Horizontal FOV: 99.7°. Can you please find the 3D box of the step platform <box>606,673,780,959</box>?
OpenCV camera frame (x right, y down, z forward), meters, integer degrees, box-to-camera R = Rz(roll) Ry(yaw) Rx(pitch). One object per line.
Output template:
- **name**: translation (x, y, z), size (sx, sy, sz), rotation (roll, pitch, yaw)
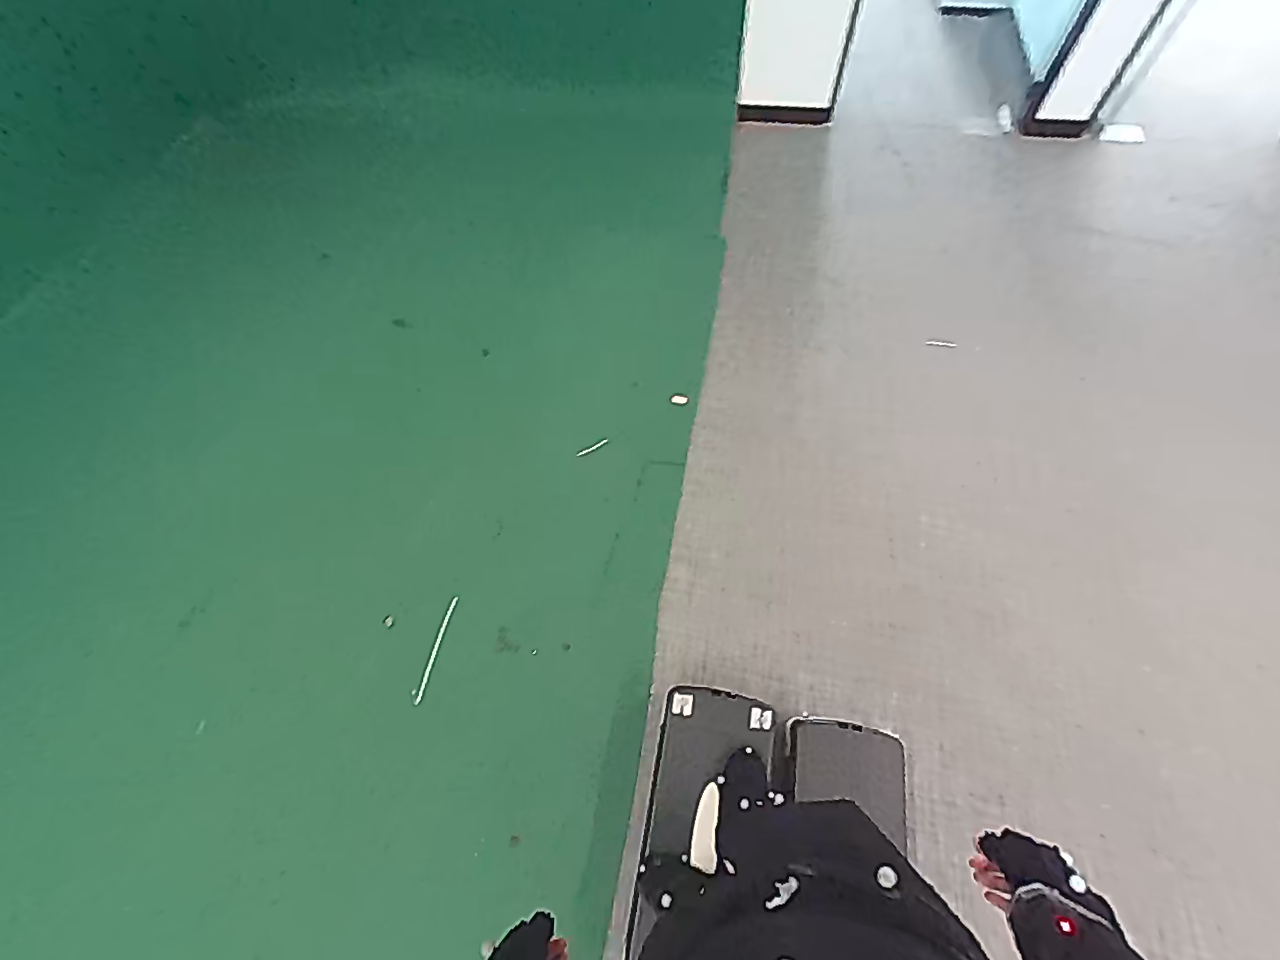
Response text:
- **step platform**: translation (0.108, 0.768, 1.101), size (0.286, 0.204, 0.684), rotation (8, 63, 6)
